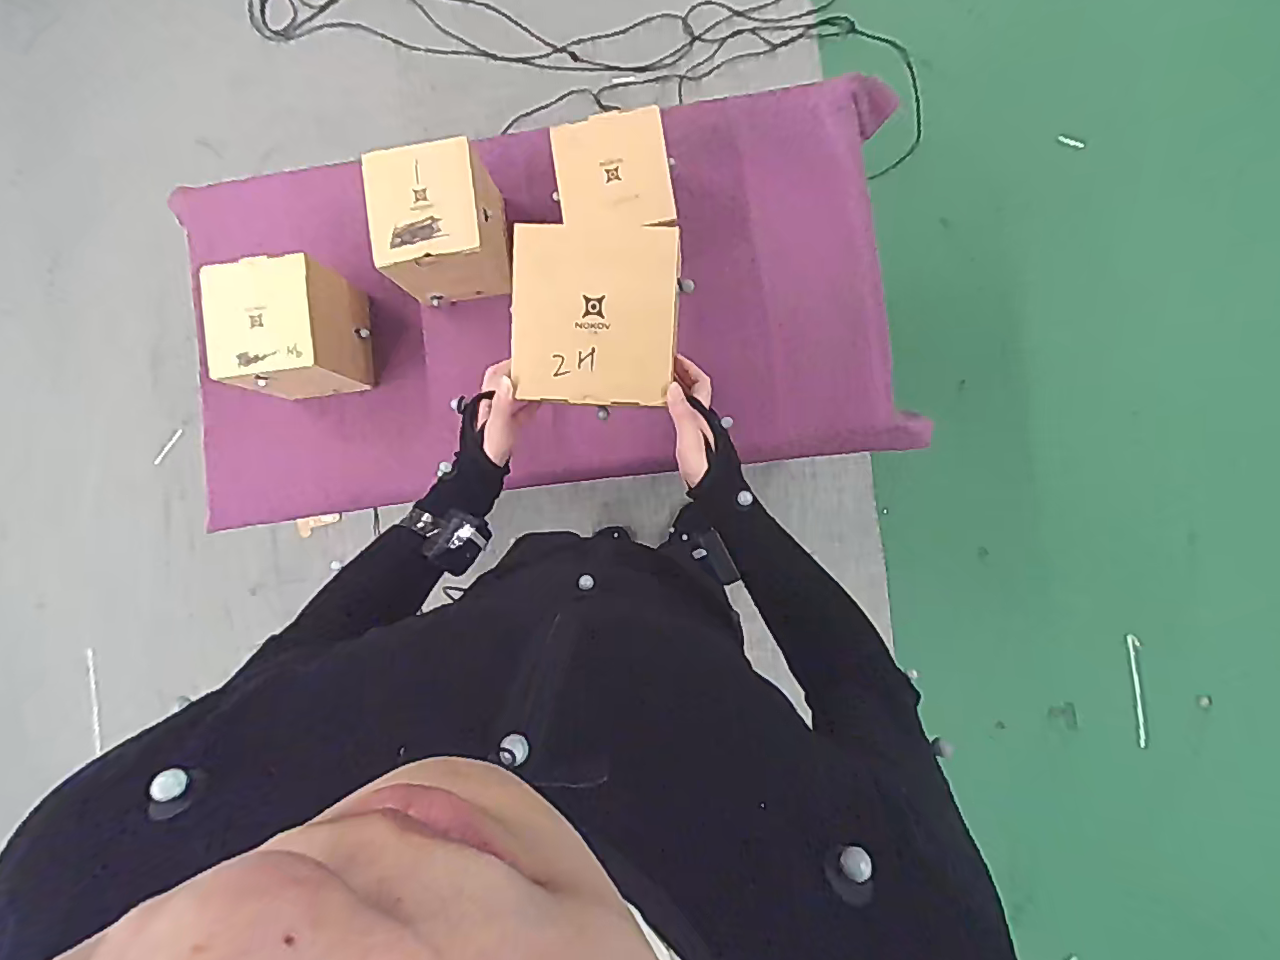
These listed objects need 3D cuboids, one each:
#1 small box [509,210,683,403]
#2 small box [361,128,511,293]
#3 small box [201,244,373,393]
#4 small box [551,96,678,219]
[{"bbox_3d":[-0.040,-0.182,0.614,0.168,0.176,0.179,4,97,5],"label":"small box"},{"bbox_3d":[-0.316,-0.416,0.870,0.168,0.176,0.179,-8,87,3],"label":"small box"},{"bbox_3d":[-0.562,-0.252,0.879,0.168,0.176,0.179,-6,87,5],"label":"small box"},{"bbox_3d":[-0.034,-0.451,0.855,0.168,0.176,0.179,-9,89,4],"label":"small box"}]
